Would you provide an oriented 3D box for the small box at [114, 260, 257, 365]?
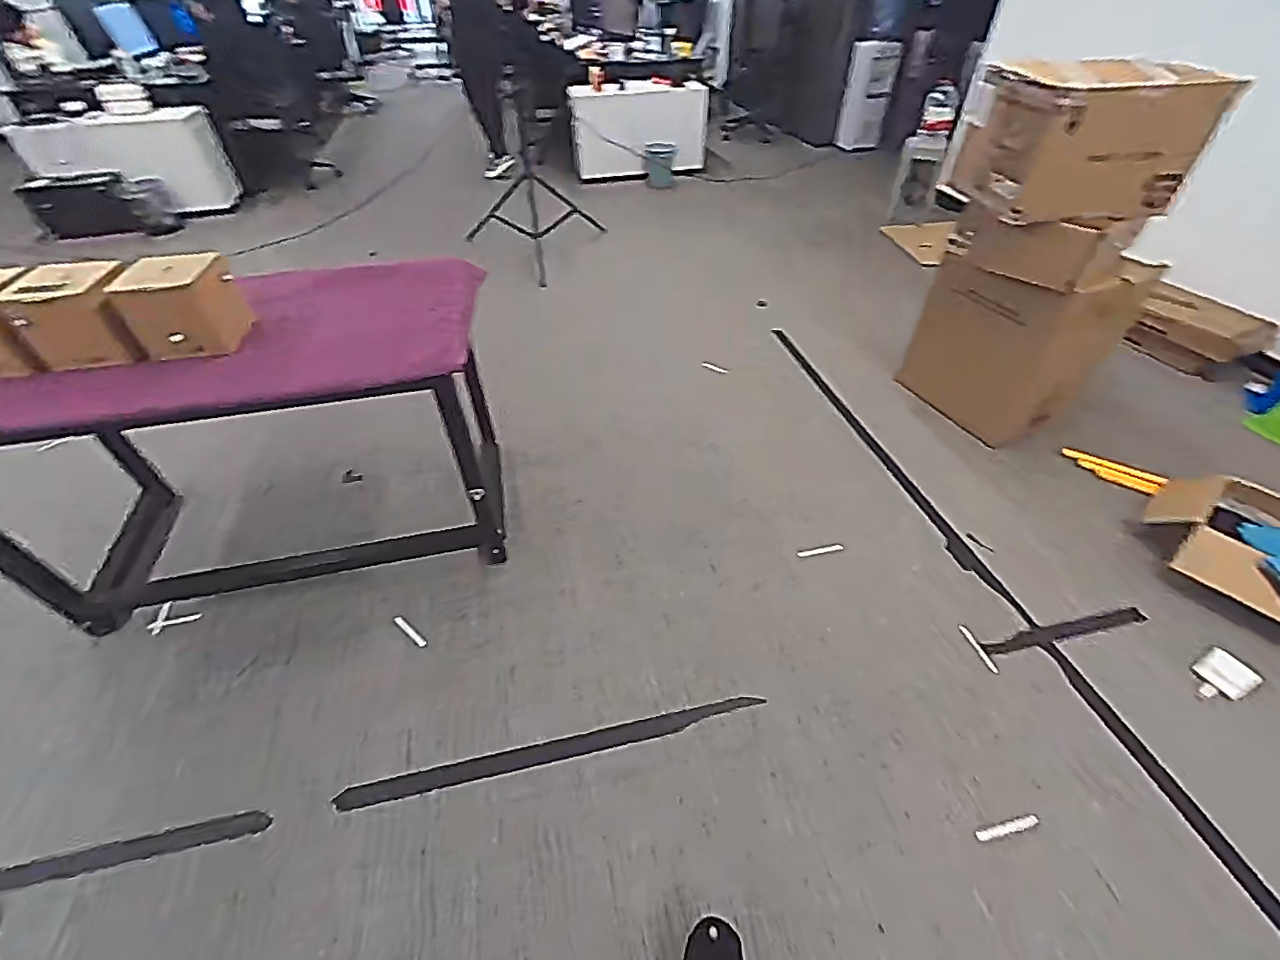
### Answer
[{"bbox_3d":[-1.026,-0.386,1.245,0.168,0.176,0.179,-8,45,-6],"label":"small box"}]
